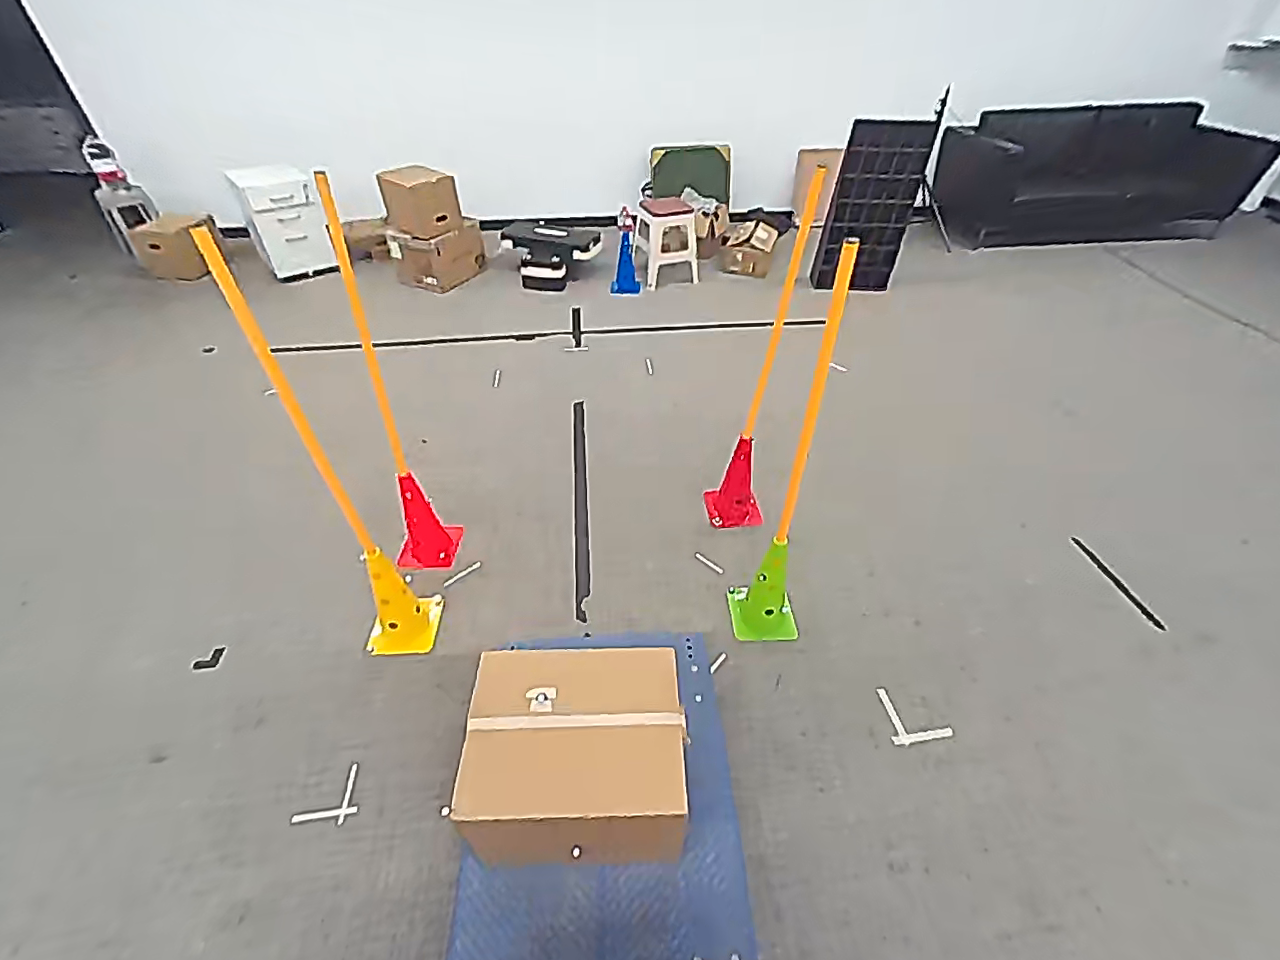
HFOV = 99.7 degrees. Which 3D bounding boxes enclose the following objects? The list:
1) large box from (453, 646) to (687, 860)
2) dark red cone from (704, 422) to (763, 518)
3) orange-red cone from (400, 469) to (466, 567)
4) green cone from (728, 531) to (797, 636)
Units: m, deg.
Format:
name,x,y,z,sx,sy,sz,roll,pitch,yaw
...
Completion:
name,x,y,z,sx,sy,sz,roll,pitch,yaw
large box,-0.120,0.569,1.125,0.408,0.320,0.320,-1,42,0
dark red cone,0.369,-0.044,1.994,0.201,0.394,0.202,-3,43,-6
orange-red cone,-0.746,0.106,1.851,0.198,0.360,0.199,2,41,0
green cone,0.400,0.294,1.648,0.202,0.368,0.200,0,42,-3
